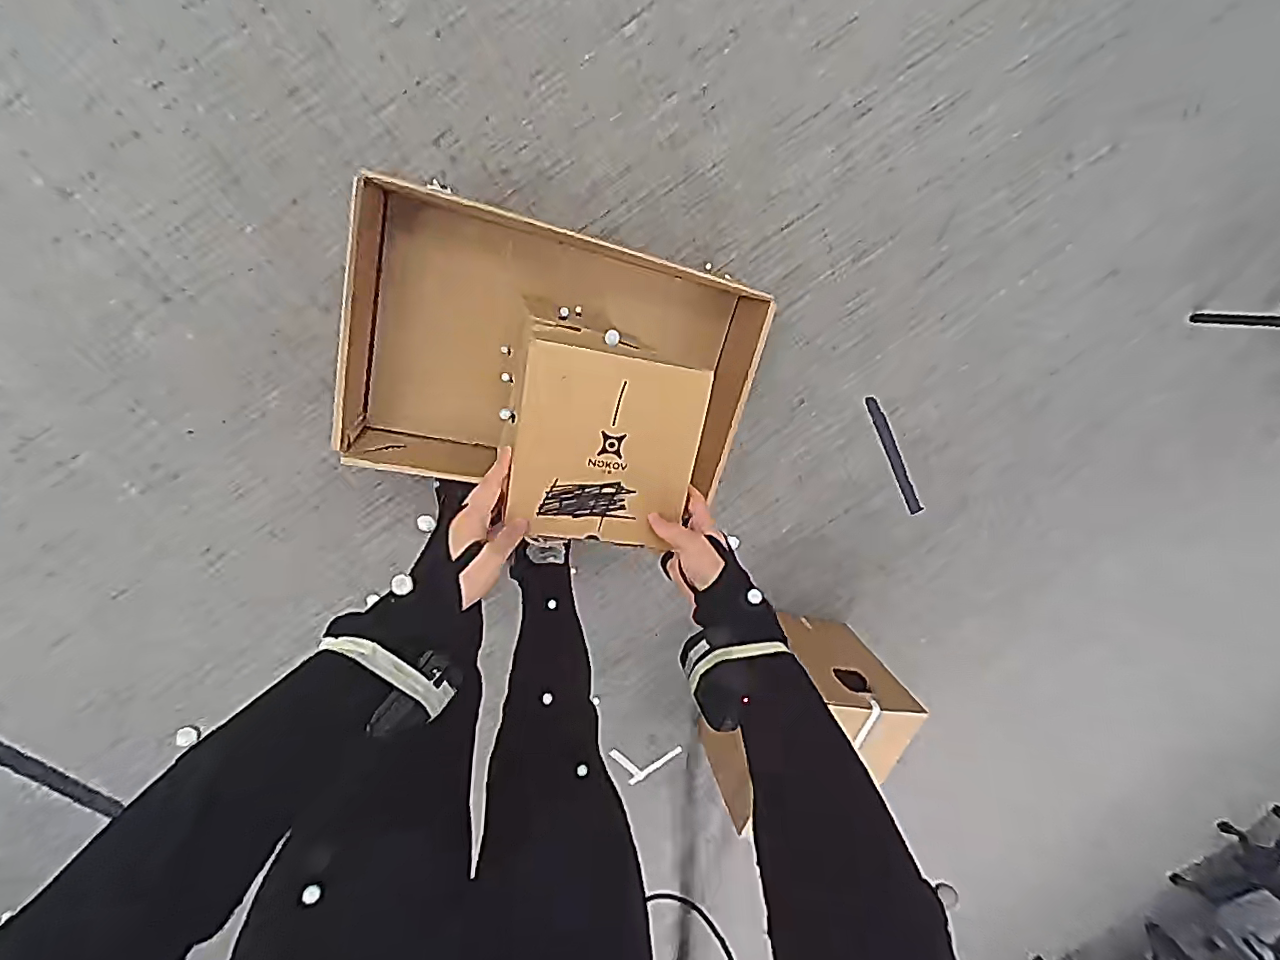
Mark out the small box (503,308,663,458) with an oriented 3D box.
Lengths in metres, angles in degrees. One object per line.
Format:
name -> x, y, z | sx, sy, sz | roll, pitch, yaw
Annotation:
small box -> -0.089, -0.121, 0.731 | 0.168, 0.176, 0.179 | 11, 110, -18

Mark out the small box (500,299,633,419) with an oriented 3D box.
small box -> -0.128, -0.182, 0.876 | 0.168, 0.176, 0.179 | 13, 109, -19

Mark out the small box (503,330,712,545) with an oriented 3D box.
small box -> -0.046, -0.051, 0.560 | 0.168, 0.176, 0.179 | 7, 105, -16
